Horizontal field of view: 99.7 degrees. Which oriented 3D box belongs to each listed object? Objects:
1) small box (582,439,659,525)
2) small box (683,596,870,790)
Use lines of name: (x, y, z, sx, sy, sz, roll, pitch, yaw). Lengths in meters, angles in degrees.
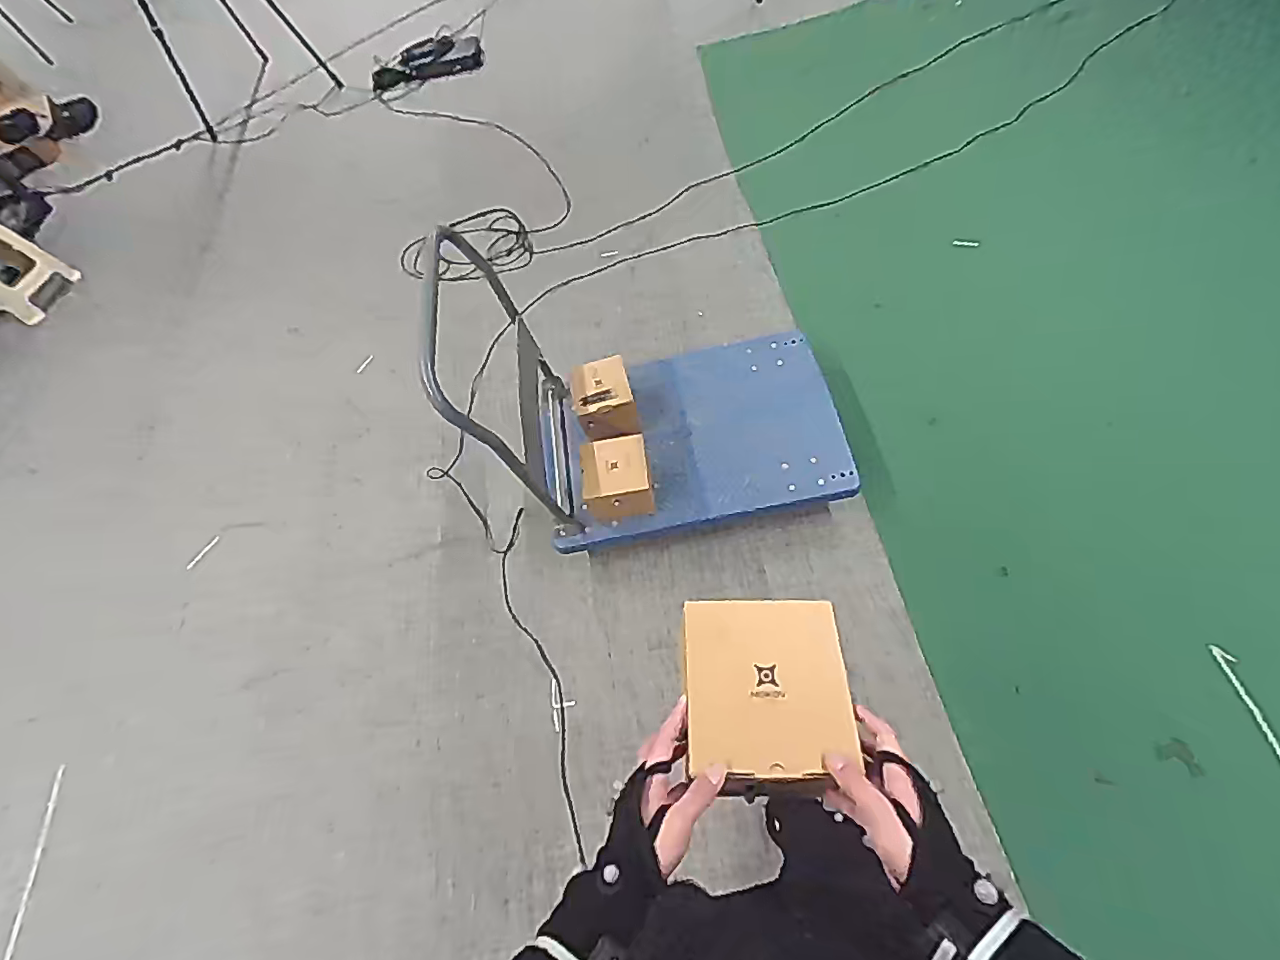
small box: (-0.051, 0.011, 1.479, 0.179, 0.176, 0.168, -9, 63, 5)
small box: (0.138, 0.248, 0.623, 0.168, 0.176, 0.179, -1, 56, 1)
